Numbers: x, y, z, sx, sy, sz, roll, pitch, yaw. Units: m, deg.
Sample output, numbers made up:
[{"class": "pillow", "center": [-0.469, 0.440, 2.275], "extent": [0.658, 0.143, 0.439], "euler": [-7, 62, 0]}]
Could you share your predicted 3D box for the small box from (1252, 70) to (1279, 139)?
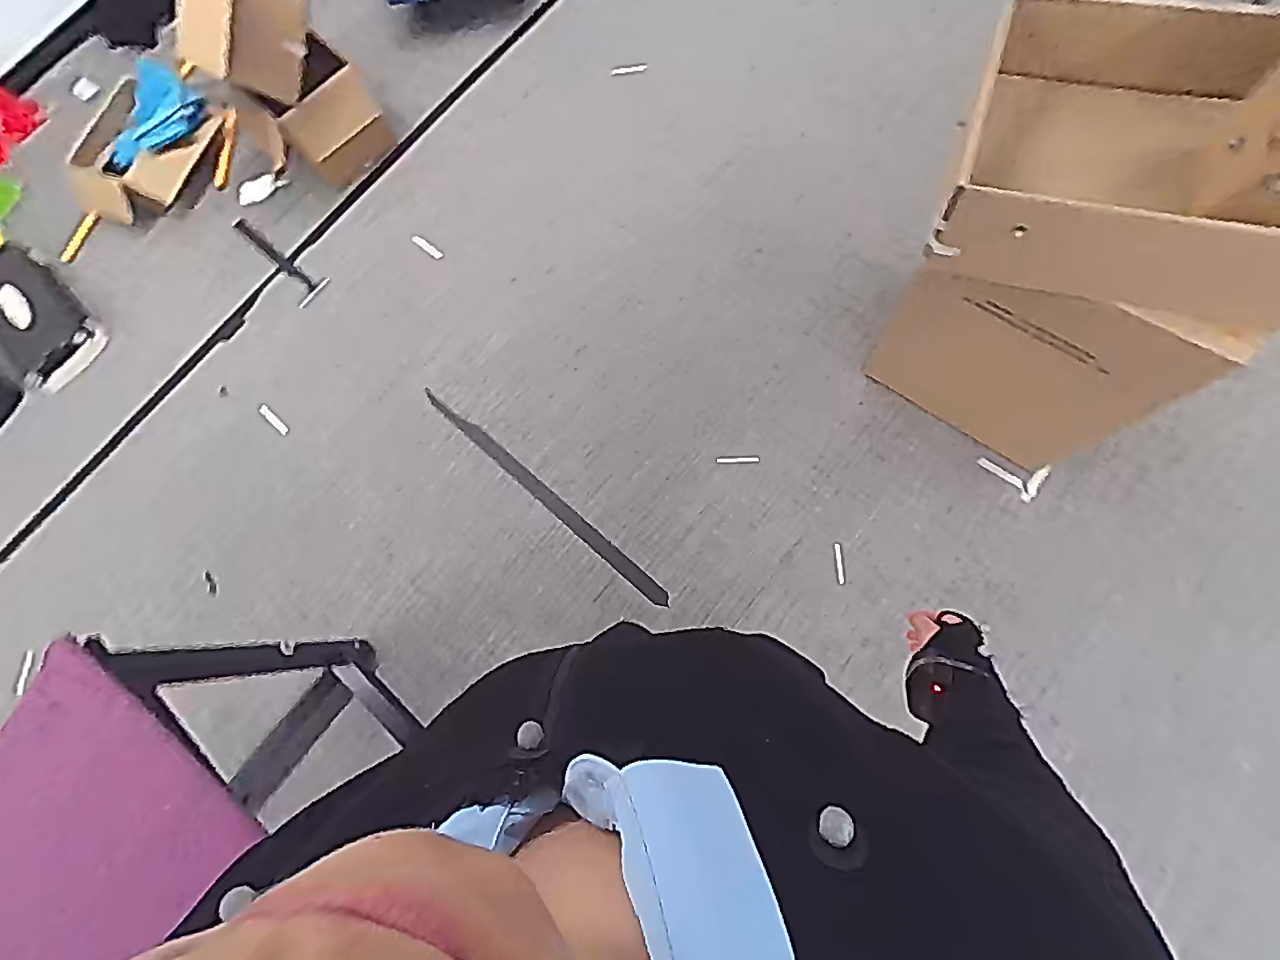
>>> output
[{"class": "small box", "center": [0.936, -0.523, 0.652], "extent": [0.179, 0.176, 0.168], "euler": [30, 82, 16]}]
